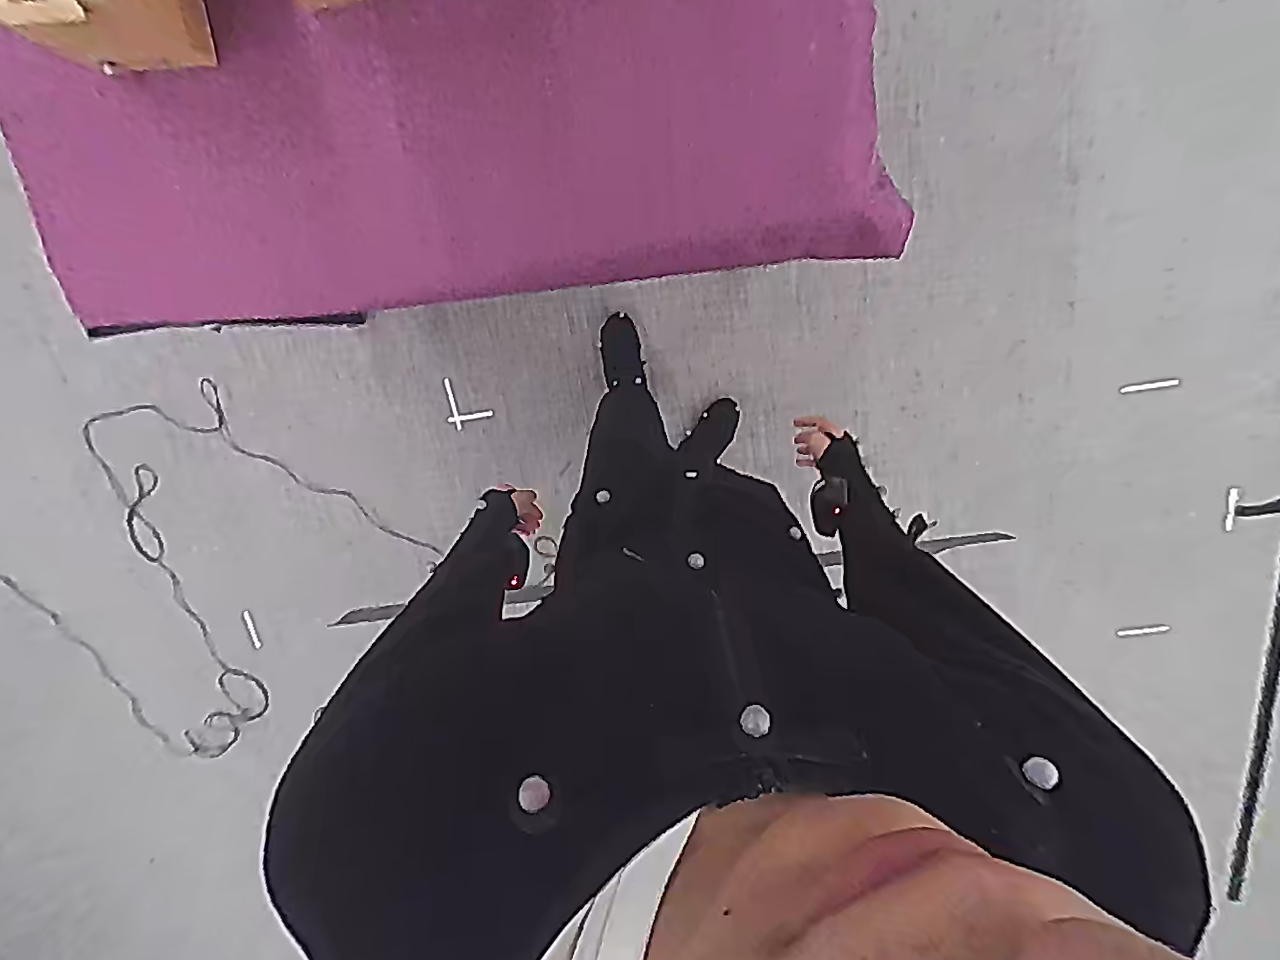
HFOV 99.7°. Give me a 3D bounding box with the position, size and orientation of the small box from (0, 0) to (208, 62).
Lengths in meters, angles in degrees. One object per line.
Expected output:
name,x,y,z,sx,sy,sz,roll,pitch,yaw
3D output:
small box,-0.665,-0.628,0.640,0.168,0.176,0.179,-2,106,2
